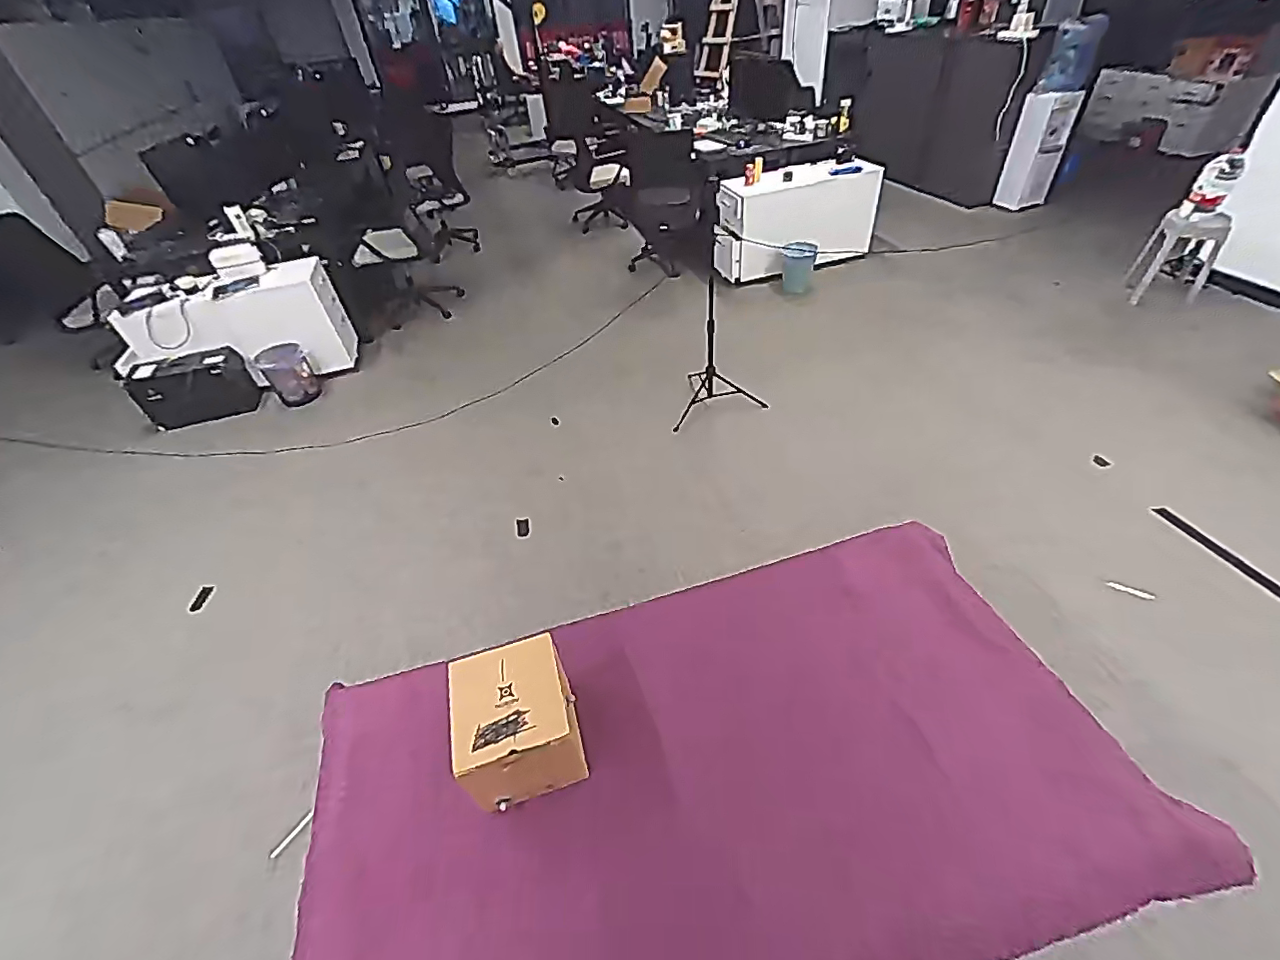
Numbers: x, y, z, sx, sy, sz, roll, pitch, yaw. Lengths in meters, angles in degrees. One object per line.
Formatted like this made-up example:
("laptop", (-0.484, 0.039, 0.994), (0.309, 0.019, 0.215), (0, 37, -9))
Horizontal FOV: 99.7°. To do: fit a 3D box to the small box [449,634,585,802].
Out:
("small box", (-0.192, 0.382, 0.856), (0.168, 0.176, 0.179), (-15, 43, -9))
